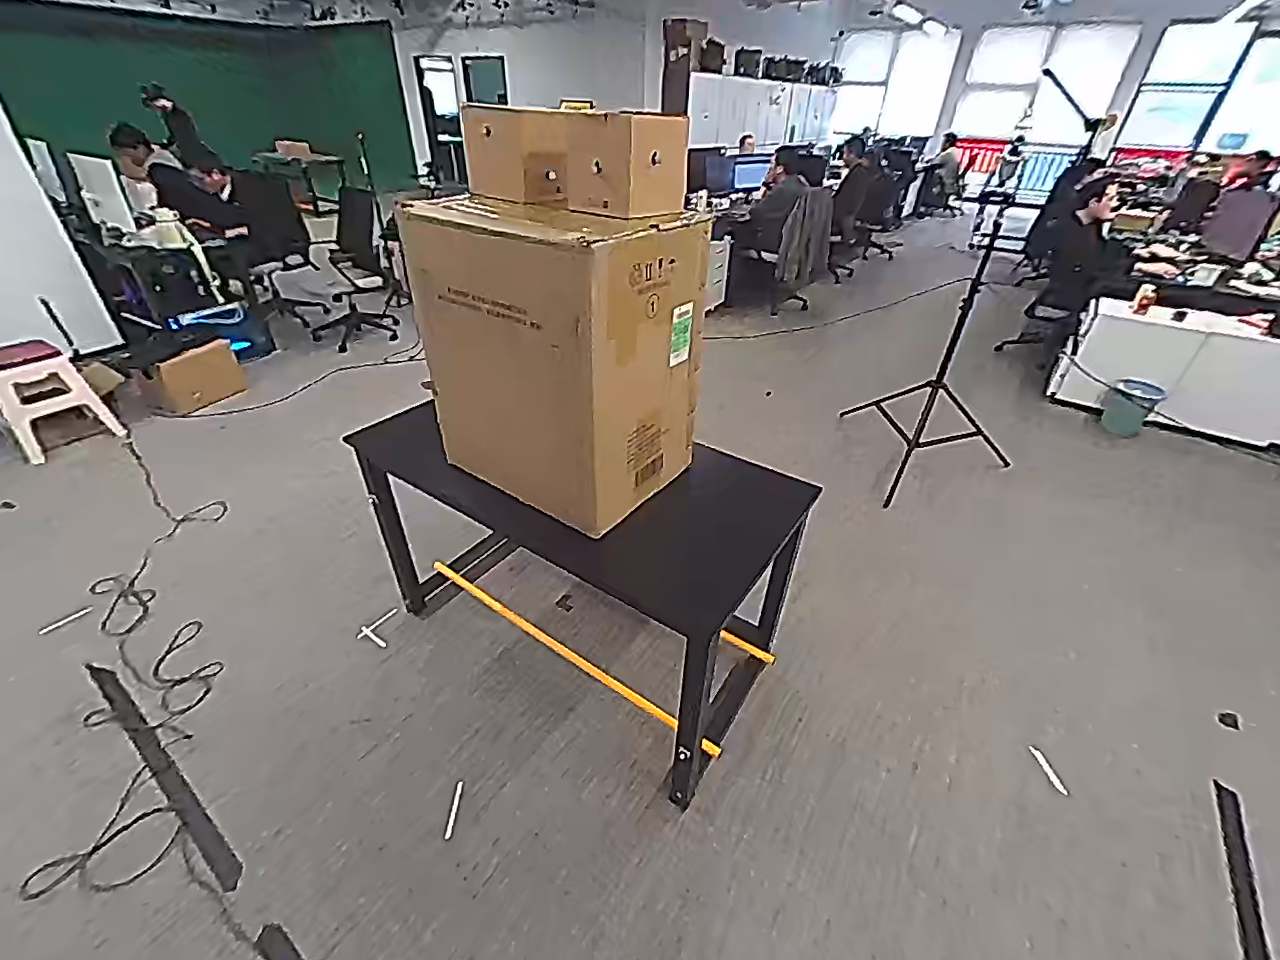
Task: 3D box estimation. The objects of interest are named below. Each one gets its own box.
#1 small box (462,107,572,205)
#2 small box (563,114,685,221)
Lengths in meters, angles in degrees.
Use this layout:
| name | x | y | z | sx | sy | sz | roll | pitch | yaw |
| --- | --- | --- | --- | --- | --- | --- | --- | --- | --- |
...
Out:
| name | x | y | z | sx | sy | sz | roll | pitch | yaw |
| --- | --- | --- | --- | --- | --- | --- | --- | --- | --- |
| small box | -0.261 | -0.706 | 1.181 | 0.179 | 0.176 | 0.168 | 25 | 40 | 27 |
| small box | -0.028 | -0.612 | 1.057 | 0.168 | 0.176 | 0.179 | 25 | 40 | 31 |
